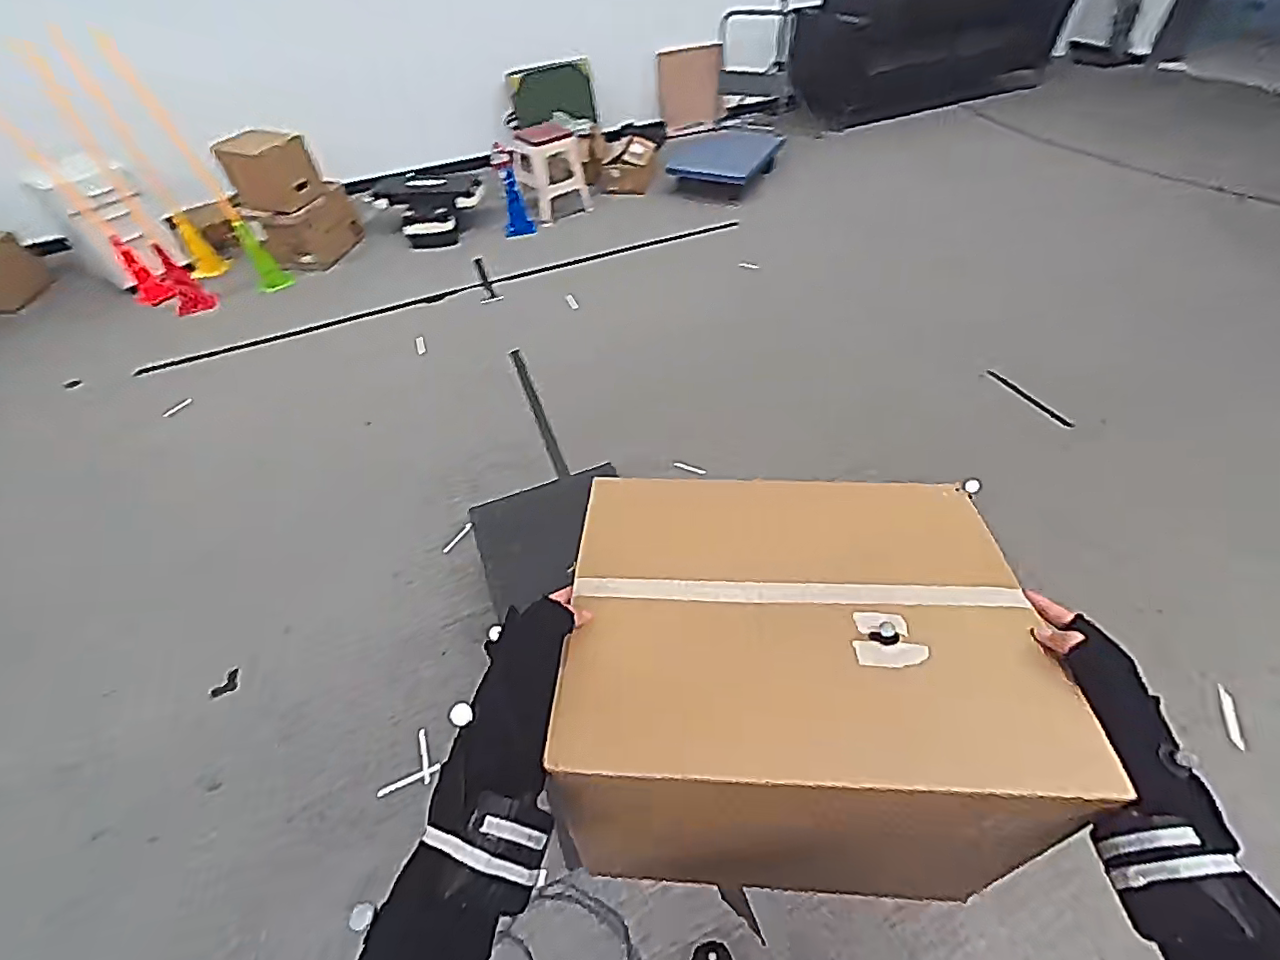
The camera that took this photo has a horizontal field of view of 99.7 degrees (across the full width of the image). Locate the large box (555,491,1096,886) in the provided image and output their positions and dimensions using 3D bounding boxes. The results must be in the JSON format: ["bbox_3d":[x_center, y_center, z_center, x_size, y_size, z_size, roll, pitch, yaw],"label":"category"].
[{"bbox_3d":[0.140,0.225,0.604,0.408,0.320,0.320,1,42,3],"label":"large box"}]

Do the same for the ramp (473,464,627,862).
[{"bbox_3d":[-0.117,0.411,1.527,0.509,0.206,0.991,-20,50,-14],"label":"ramp"}]
